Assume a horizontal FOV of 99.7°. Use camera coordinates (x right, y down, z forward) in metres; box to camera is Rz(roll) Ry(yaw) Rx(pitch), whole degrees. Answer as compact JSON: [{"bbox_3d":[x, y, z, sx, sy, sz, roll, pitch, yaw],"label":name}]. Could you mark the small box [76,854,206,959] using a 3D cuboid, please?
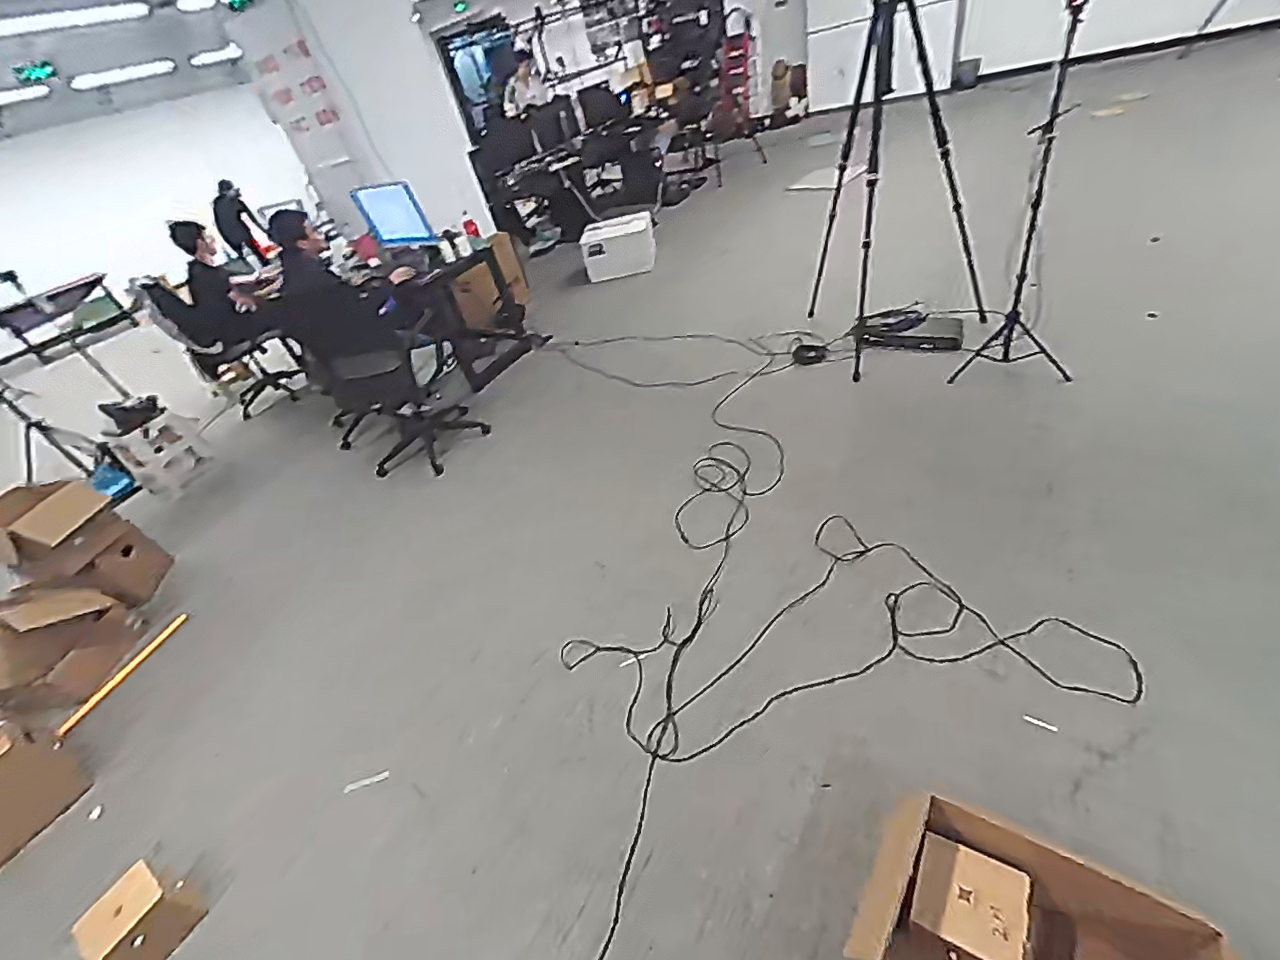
[{"bbox_3d":[-1.293,1.136,1.417,0.168,0.176,0.179,13,49,31],"label":"small box"}]
